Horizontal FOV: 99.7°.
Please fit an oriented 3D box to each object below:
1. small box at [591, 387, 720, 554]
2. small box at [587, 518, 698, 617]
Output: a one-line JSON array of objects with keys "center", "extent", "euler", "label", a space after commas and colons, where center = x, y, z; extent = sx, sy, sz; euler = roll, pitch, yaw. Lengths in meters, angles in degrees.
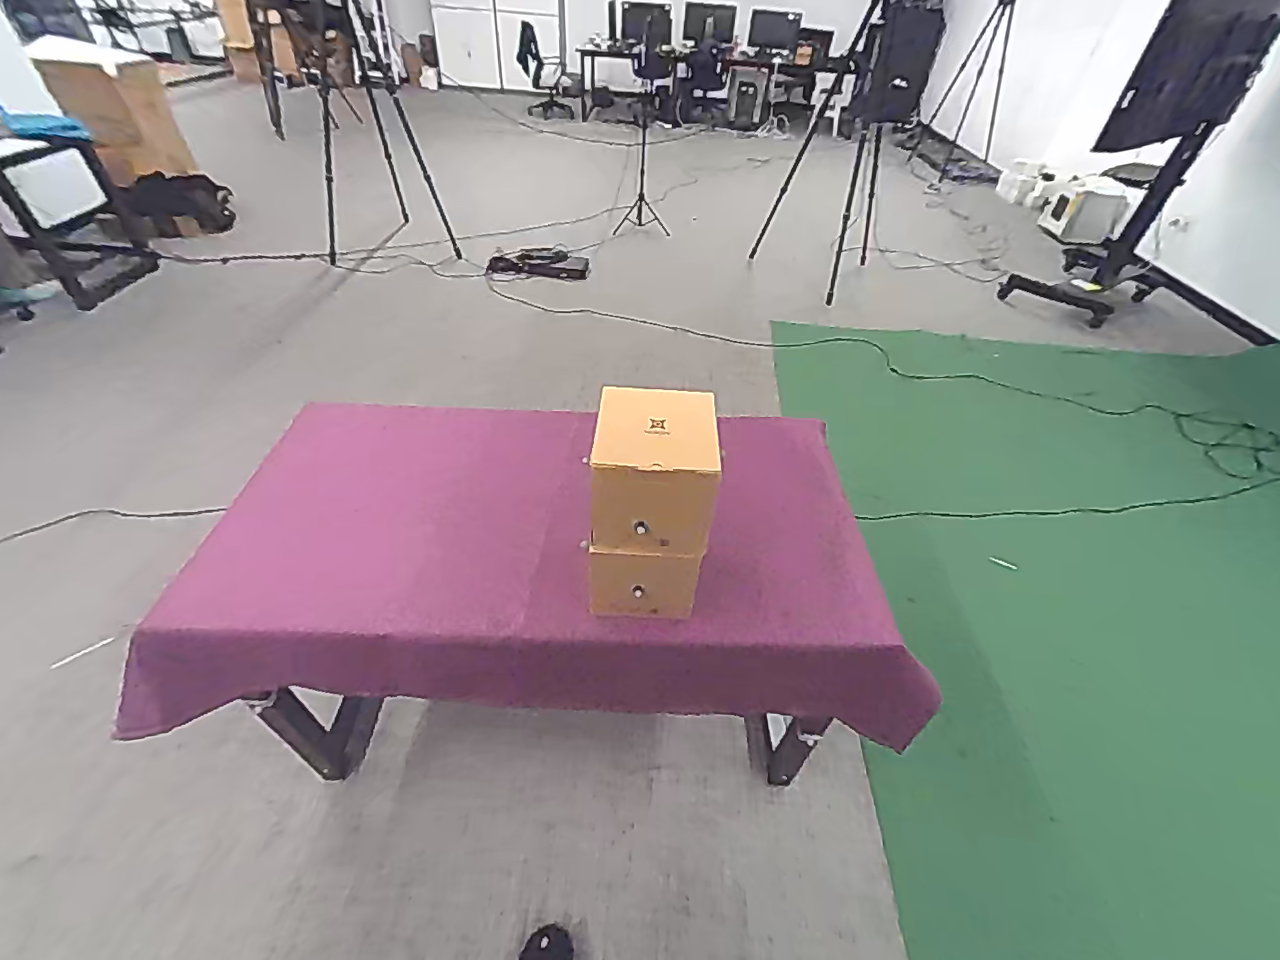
[{"center": [0.018, -0.013, 0.790], "extent": [0.168, 0.176, 0.179], "euler": [3, 45, -1], "label": "small box"}, {"center": [0.004, 0.110, 0.897], "extent": [0.168, 0.176, 0.179], "euler": [3, 43, -1], "label": "small box"}]
